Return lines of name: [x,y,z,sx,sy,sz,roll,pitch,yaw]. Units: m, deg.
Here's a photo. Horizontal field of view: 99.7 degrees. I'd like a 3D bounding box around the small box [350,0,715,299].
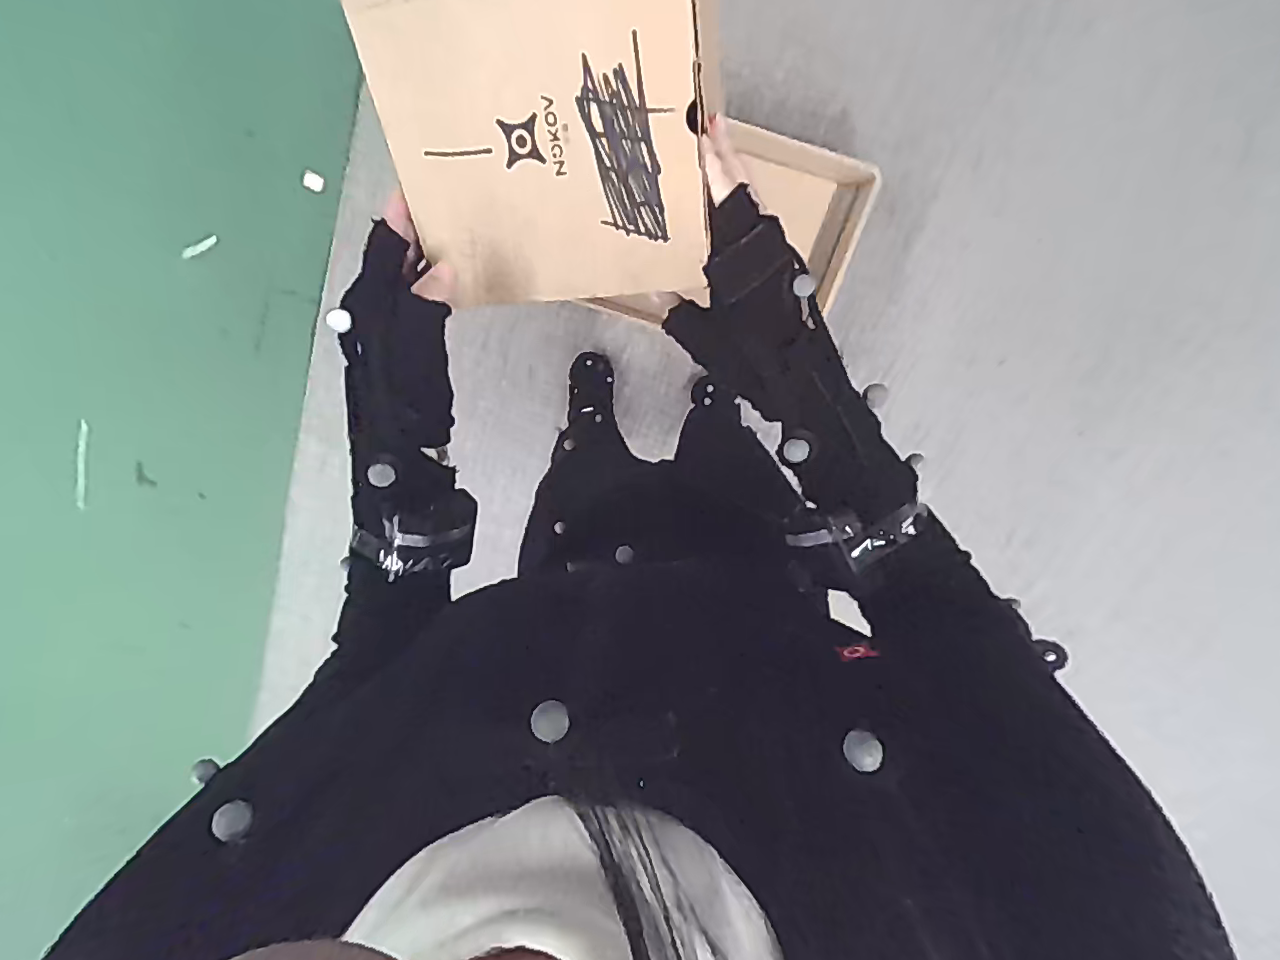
small box: [-0.042,-0.233,0.366,0.179,0.176,0.168,0,123,14]
